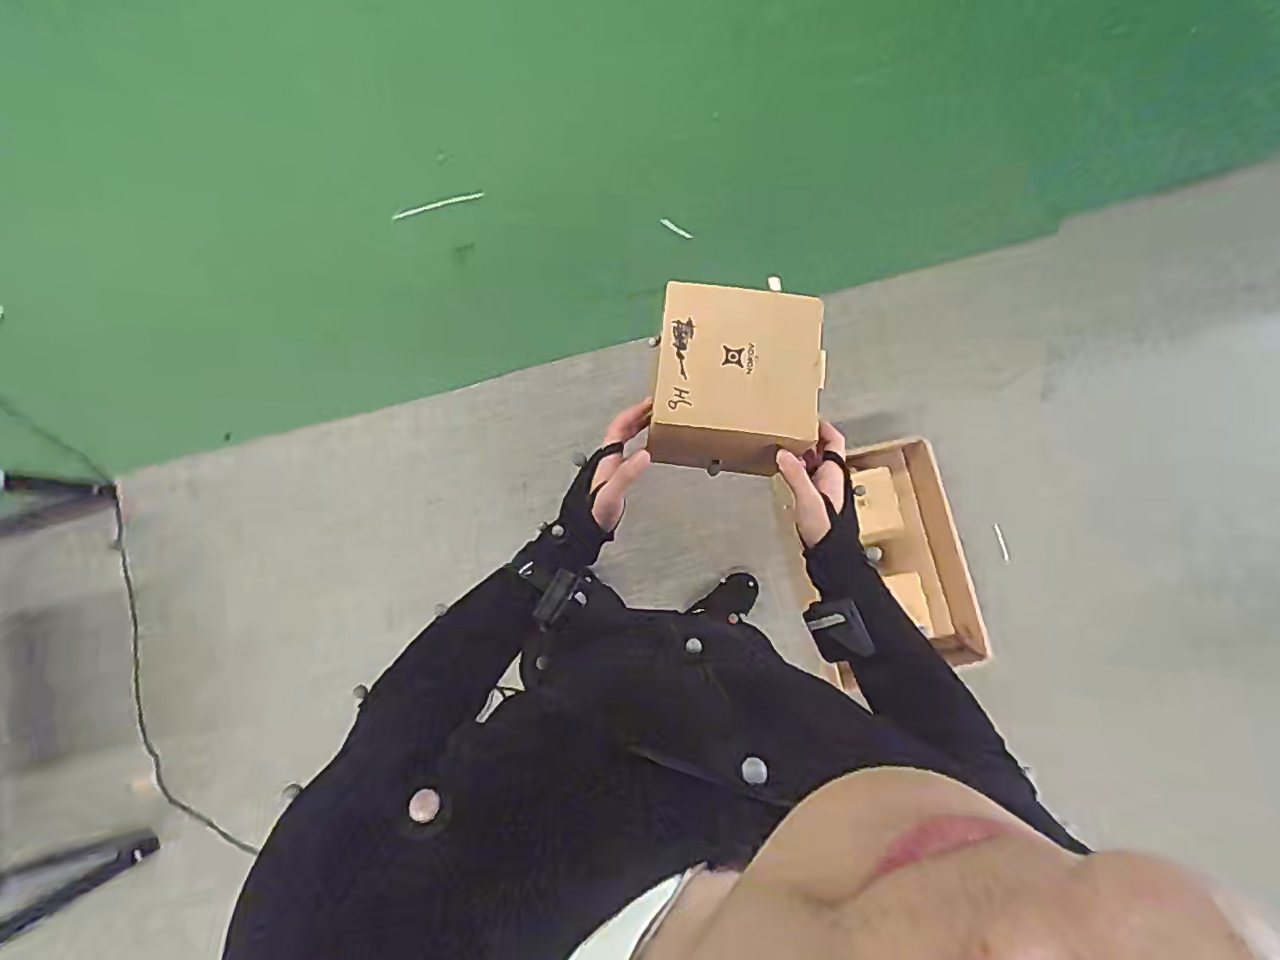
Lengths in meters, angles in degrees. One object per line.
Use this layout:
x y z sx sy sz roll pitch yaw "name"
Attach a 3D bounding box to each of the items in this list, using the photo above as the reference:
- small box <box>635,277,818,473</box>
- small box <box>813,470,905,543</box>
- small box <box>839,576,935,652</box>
0.093 -0.111 0.642 0.179 0.176 0.168 7 76 -2 "small box"
0.591 0.080 1.489 0.179 0.176 0.168 -12 82 1 "small box"
0.648 0.353 1.447 0.179 0.176 0.168 -10 81 2 "small box"
